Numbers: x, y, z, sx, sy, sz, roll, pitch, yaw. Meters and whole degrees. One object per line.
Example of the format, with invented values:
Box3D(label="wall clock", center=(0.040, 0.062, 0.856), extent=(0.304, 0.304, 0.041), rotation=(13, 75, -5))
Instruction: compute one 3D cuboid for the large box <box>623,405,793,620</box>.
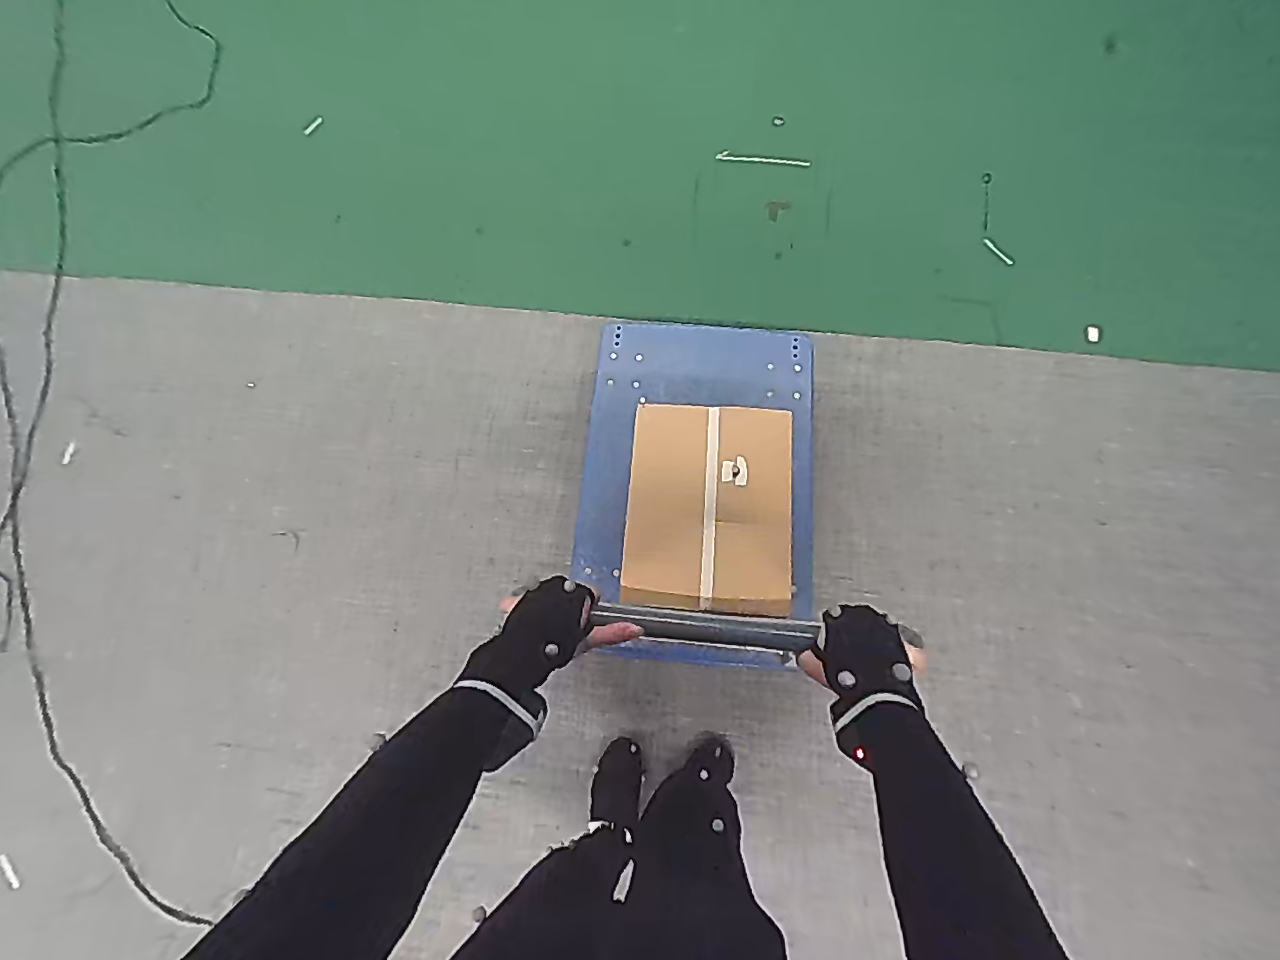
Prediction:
Box3D(label="large box", center=(0.143, 0.087, 1.179), extent=(0.320, 0.320, 0.408), rotation=(4, 73, 4))
